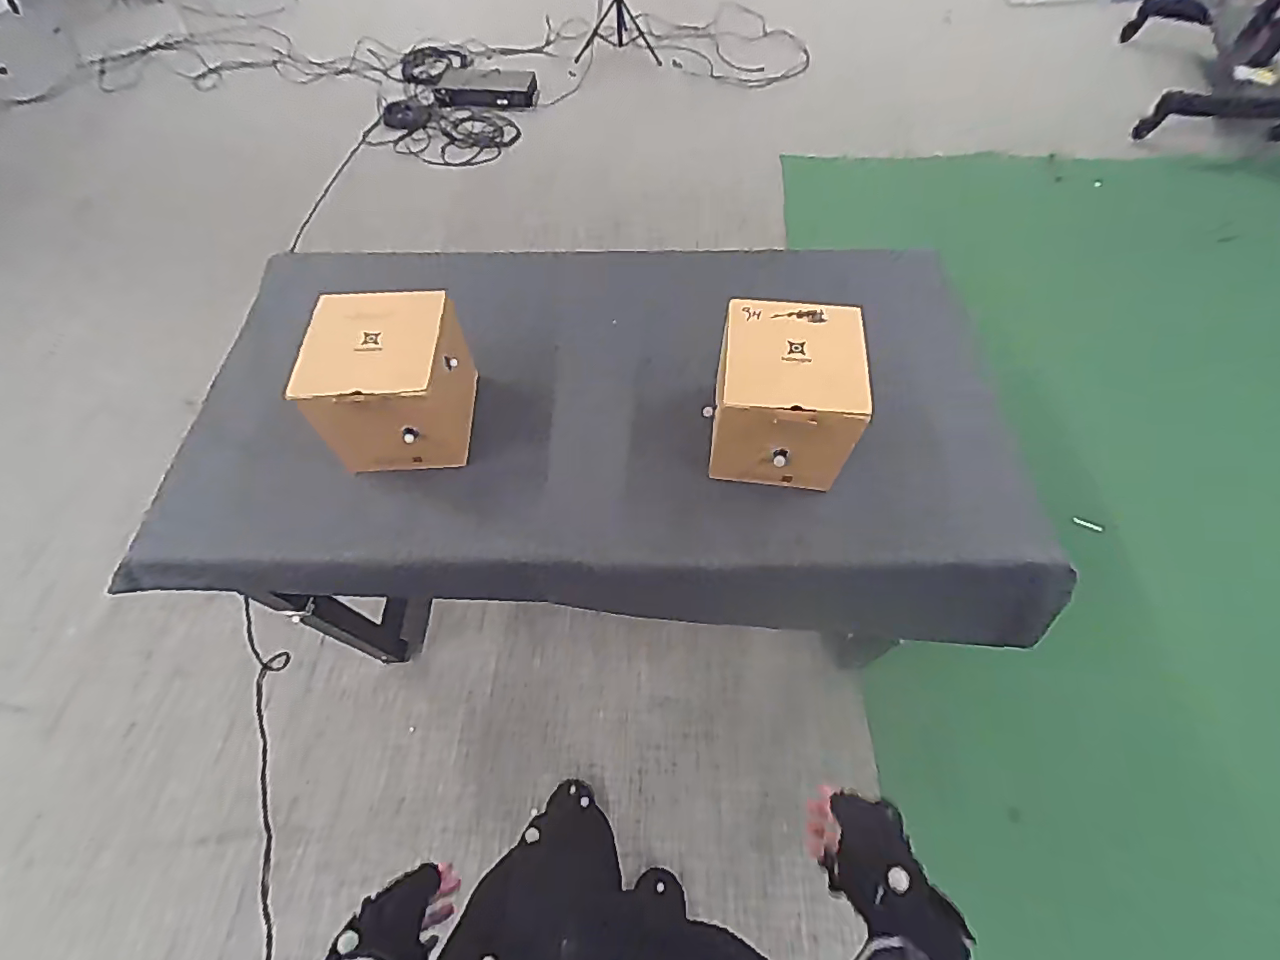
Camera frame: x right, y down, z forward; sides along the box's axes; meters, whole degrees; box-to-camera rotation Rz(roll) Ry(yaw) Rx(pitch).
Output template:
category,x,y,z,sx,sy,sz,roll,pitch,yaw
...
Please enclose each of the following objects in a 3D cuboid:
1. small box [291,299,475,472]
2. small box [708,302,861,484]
category,x,y,z,sx,sy,sz,roll,pitch,yaw
small box,-0.335,-0.121,0.747,0.168,0.176,0.179,-4,59,-2
small box,0.181,-0.109,0.719,0.168,0.176,0.179,5,61,5
